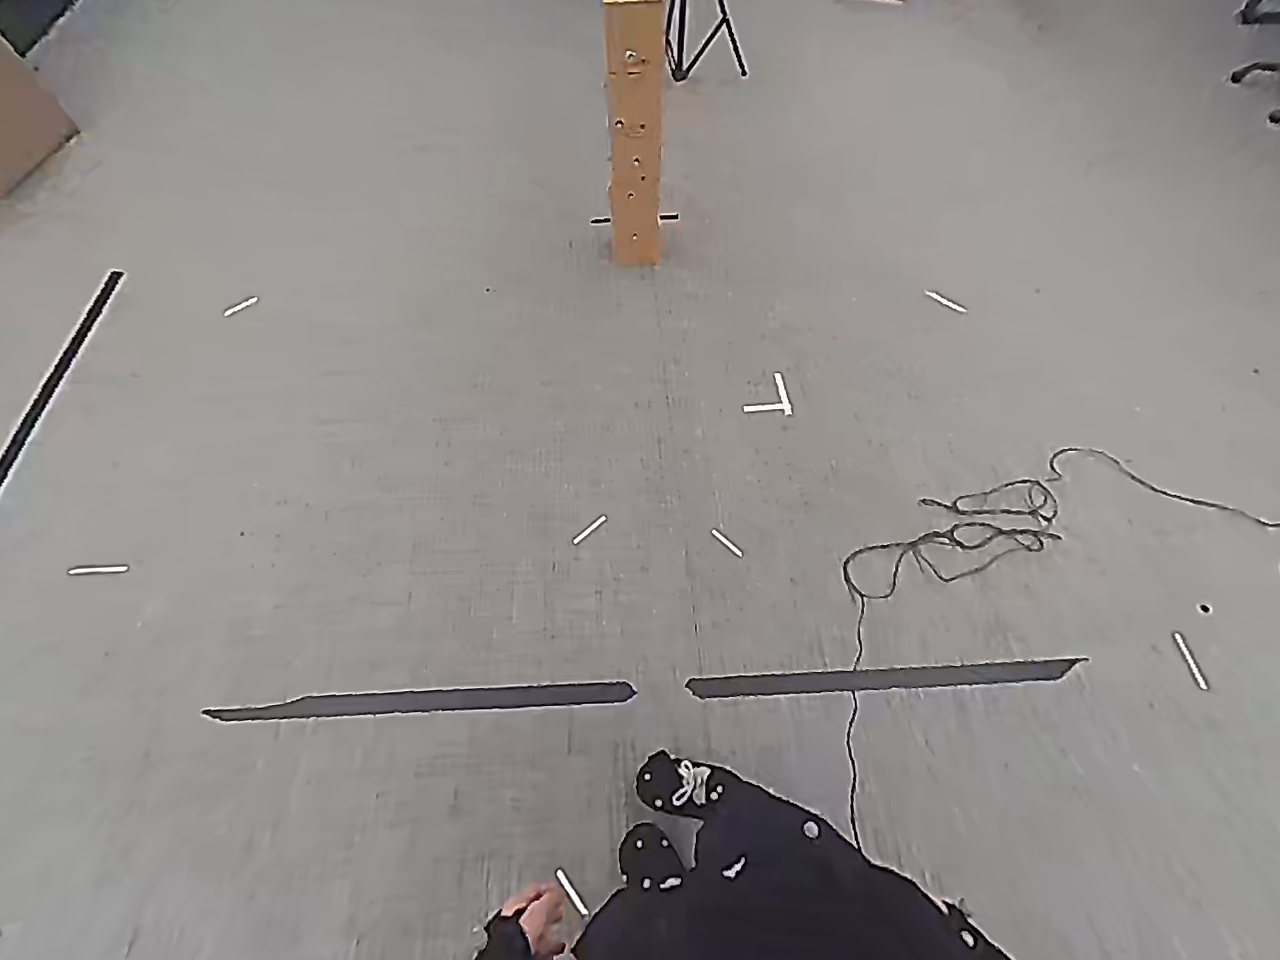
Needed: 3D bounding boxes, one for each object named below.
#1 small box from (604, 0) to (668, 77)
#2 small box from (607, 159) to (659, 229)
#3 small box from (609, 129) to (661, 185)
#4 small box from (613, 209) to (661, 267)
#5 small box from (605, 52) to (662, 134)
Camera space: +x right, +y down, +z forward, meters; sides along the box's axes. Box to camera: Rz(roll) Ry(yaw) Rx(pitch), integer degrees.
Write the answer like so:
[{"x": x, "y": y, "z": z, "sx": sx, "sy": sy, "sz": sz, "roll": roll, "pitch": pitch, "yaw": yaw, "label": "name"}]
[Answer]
[{"x": -0.015, "y": -1.259, "z": 1.504, "sx": 0.168, "sy": 0.176, "sz": 0.179, "roll": -5, "pitch": 62, "yaw": -1, "label": "small box"}, {"x": -0.023, "y": -1.018, "z": 1.930, "sx": 0.179, "sy": 0.176, "sz": 0.168, "roll": -1, "pitch": 62, "yaw": 0, "label": "small box"}, {"x": -0.014, "y": -1.100, "z": 1.789, "sx": 0.168, "sy": 0.176, "sz": 0.179, "roll": -2, "pitch": 62, "yaw": -1, "label": "small box"}, {"x": -0.016, "y": -0.943, "z": 2.076, "sx": 0.179, "sy": 0.176, "sz": 0.168, "roll": -3, "pitch": 61, "yaw": -2, "label": "small box"}, {"x": -0.018, "y": -1.181, "z": 1.646, "sx": 0.168, "sy": 0.176, "sz": 0.179, "roll": -3, "pitch": 61, "yaw": -1, "label": "small box"}]
